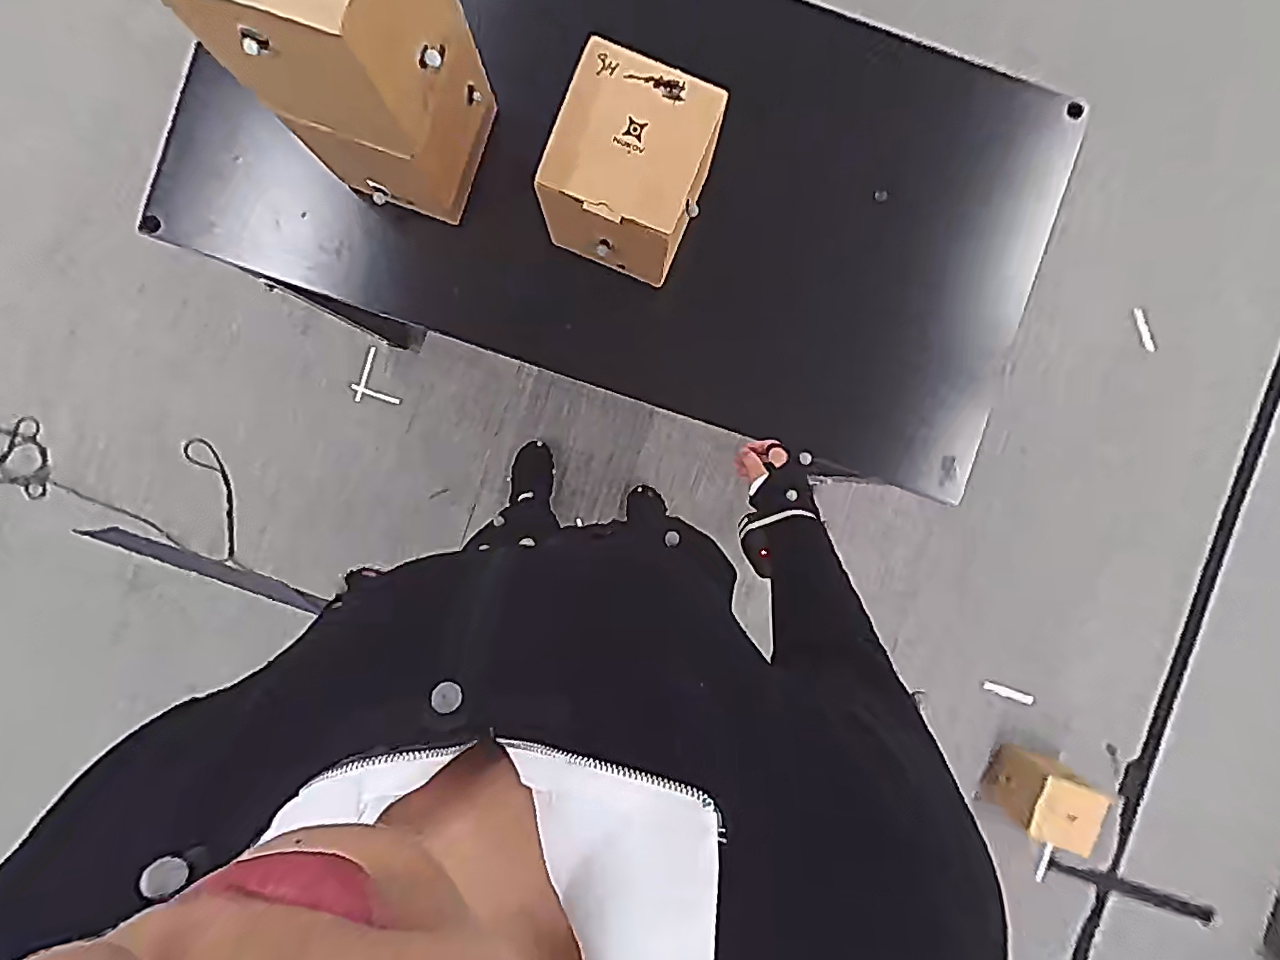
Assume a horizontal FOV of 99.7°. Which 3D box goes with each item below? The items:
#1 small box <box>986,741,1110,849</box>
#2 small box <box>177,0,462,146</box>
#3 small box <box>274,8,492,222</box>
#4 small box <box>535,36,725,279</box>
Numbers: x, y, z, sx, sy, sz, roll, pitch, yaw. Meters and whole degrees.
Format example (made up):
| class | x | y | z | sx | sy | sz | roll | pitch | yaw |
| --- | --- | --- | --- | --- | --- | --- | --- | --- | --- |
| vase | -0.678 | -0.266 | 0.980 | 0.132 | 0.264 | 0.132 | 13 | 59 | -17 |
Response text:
| class | x | y | z | sx | sy | sz | roll | pitch | yaw |
| --- | --- | --- | --- | --- | --- | --- | --- | --- | --- |
| small box | 1.091 | 0.839 | 1.458 | 0.179 | 0.176 | 0.168 | 20 | 91 | -1 |
| small box | -0.294 | -0.453 | 0.503 | 0.179 | 0.176 | 0.168 | 17 | 91 | -2 |
| small box | -0.297 | -0.459 | 0.667 | 0.168 | 0.176 | 0.179 | 18 | 92 | -1 |
| small box | -0.011 | -0.380 | 0.675 | 0.168 | 0.176 | 0.179 | 22 | 91 | -2 |
